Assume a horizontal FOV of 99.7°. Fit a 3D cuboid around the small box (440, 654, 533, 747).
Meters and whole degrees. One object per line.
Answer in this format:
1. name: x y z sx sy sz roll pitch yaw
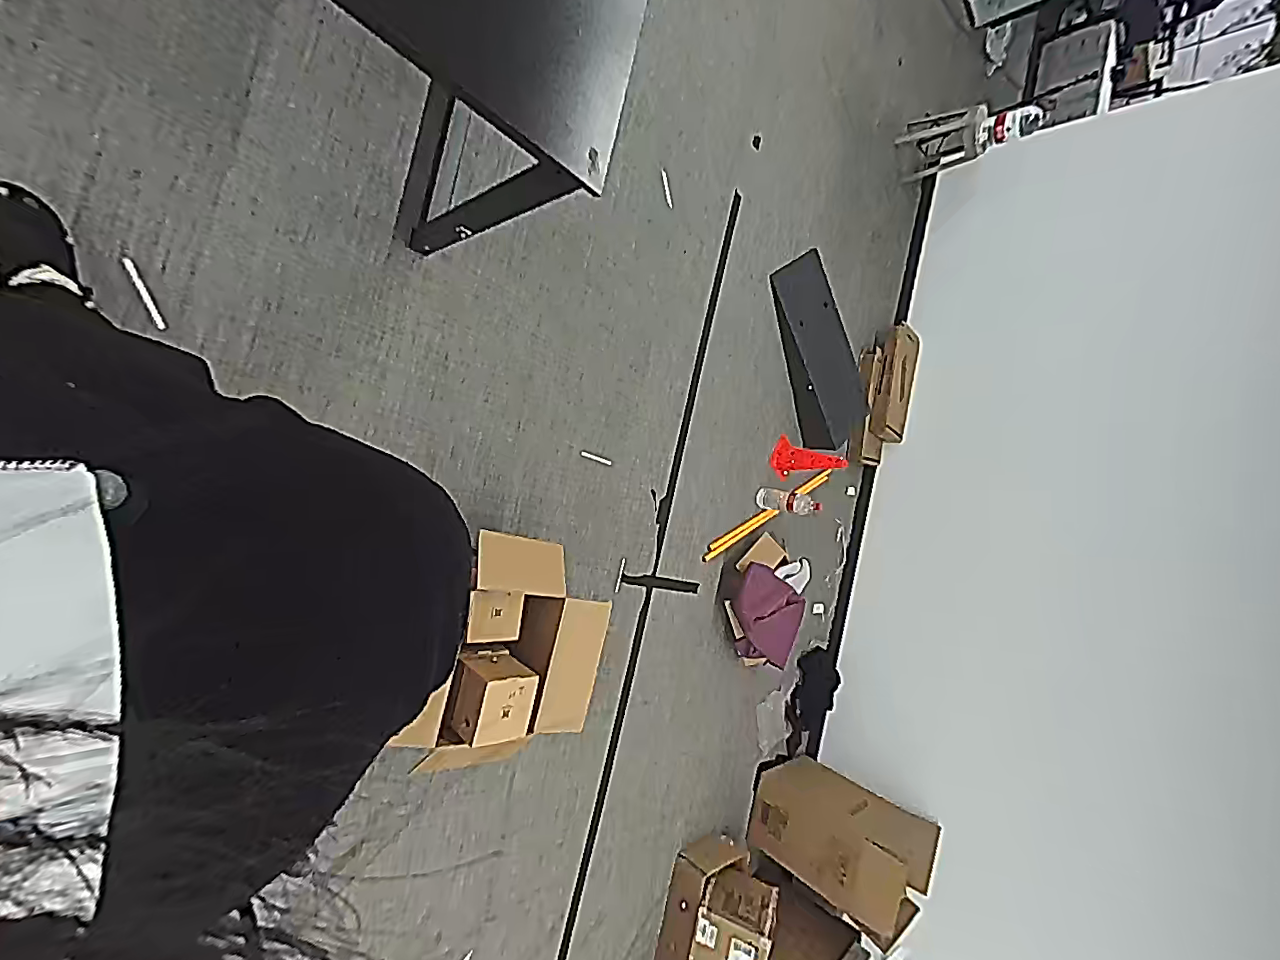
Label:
1. small box: -0.424 0.593 1.475 0.168 0.176 0.179 15 87 -46
